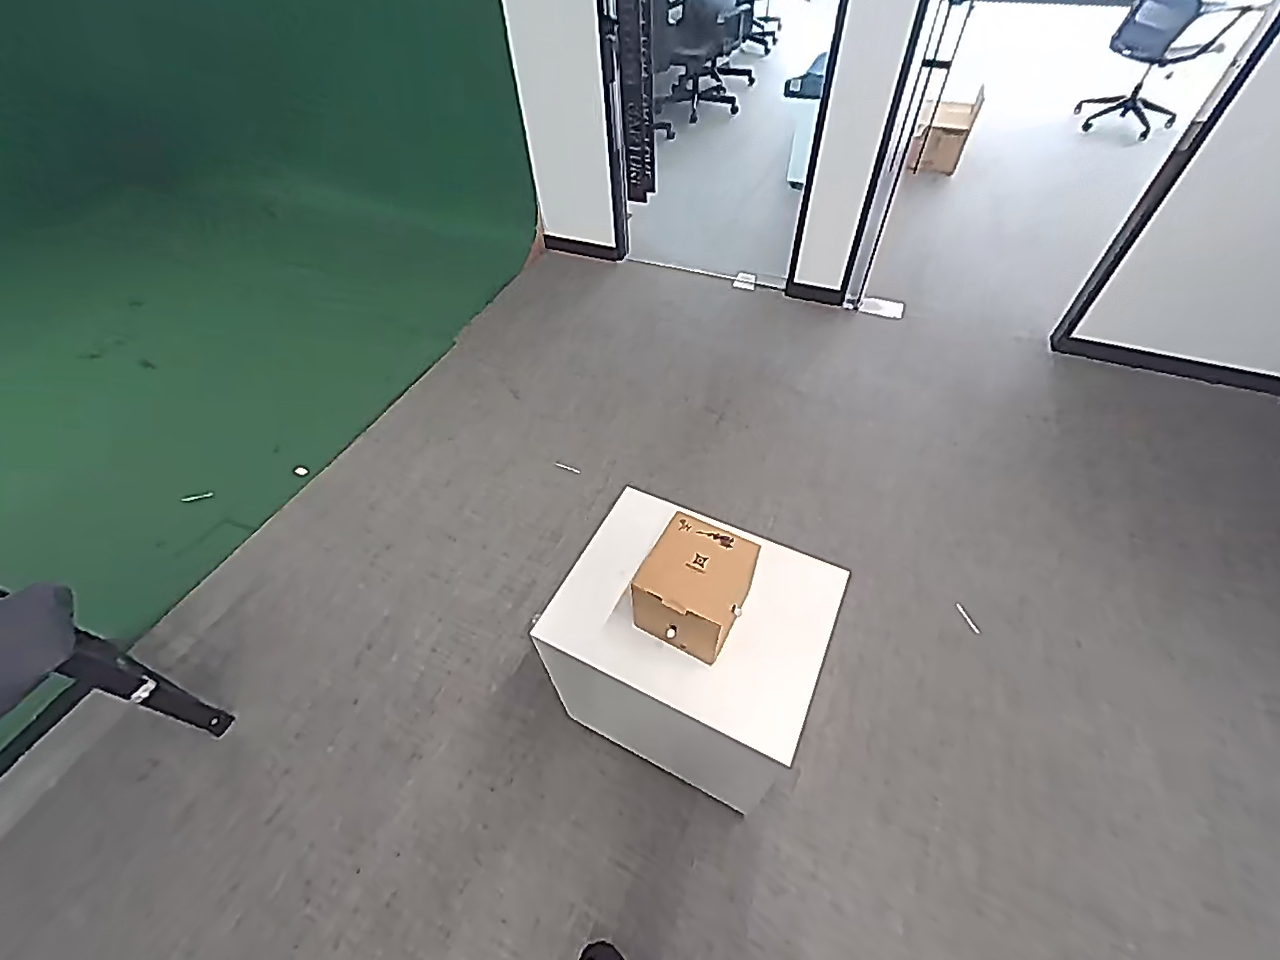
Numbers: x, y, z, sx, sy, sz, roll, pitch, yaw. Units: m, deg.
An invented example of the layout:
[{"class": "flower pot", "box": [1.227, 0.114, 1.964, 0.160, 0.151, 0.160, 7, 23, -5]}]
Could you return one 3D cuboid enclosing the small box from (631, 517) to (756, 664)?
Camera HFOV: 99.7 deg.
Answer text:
[{"class": "small box", "box": [0.098, 0.205, 0.985, 0.168, 0.176, 0.179, 21, 53, 18]}]
